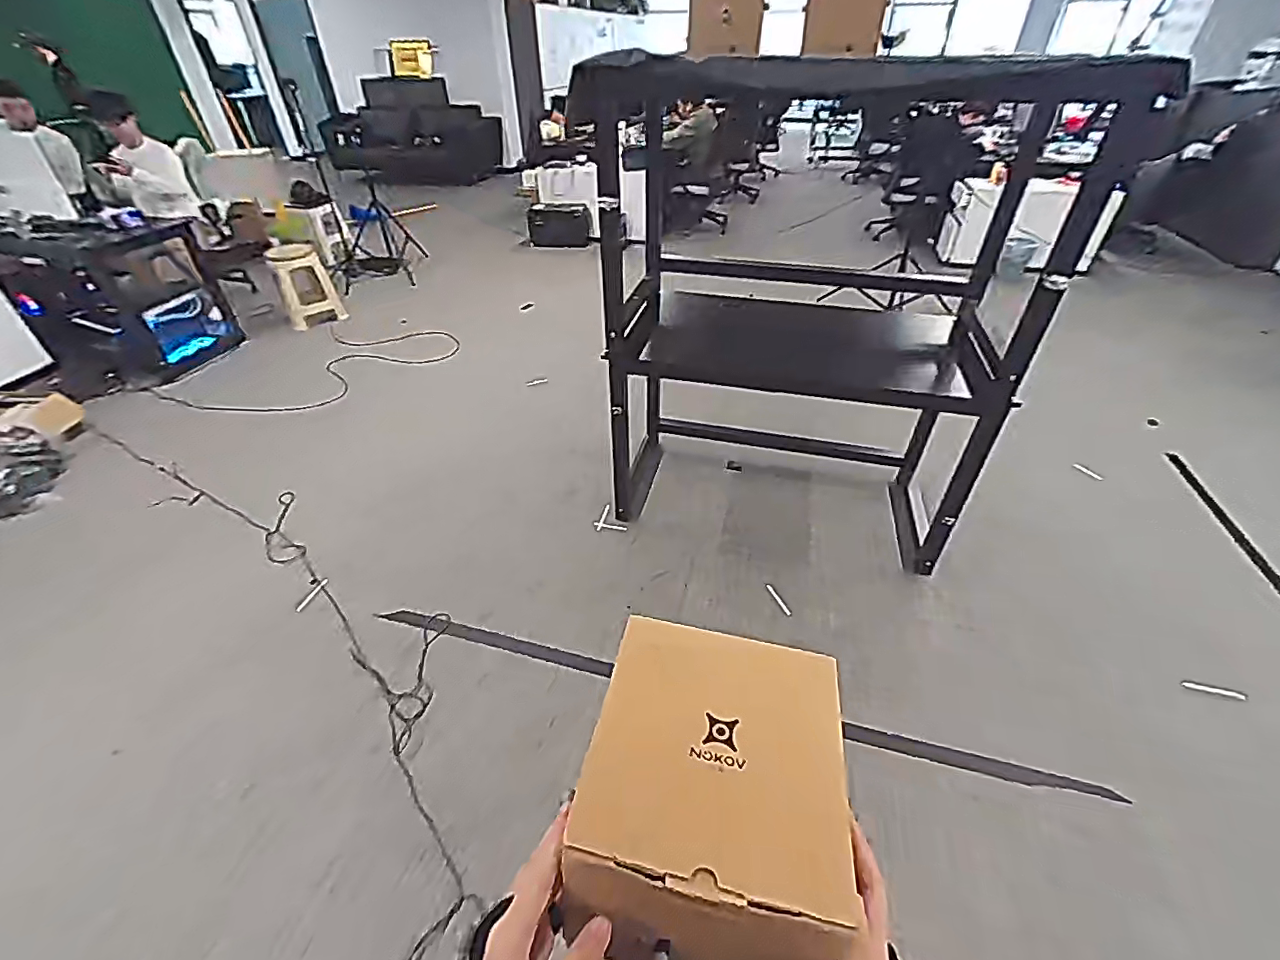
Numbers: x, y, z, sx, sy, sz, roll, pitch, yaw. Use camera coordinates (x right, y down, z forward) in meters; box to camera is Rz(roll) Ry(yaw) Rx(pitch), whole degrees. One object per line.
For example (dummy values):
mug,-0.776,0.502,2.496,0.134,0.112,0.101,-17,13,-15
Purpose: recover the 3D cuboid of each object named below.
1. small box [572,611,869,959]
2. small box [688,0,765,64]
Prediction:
small box,0.052,0.233,0.401,0.168,0.176,0.179,10,36,8
small box,0.204,-1.077,1.255,0.168,0.176,0.179,7,39,8
